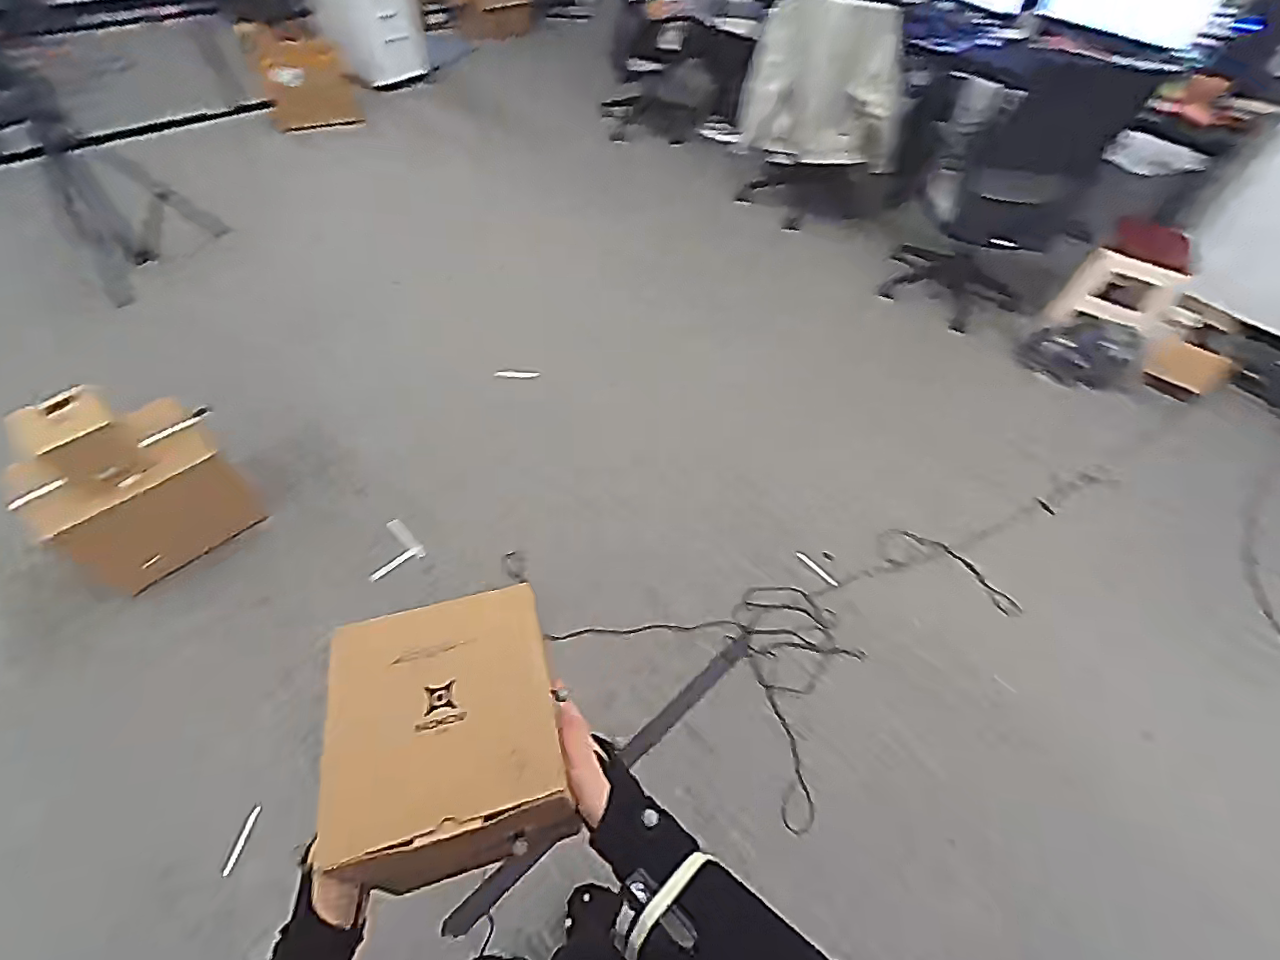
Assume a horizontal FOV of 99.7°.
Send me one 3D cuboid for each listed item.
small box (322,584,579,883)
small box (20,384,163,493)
[{"bbox_3d":[-0.152,0.224,0.473,0.168,0.176,0.179,-12,49,-13],"label":"small box"},{"bbox_3d":[-1.358,-0.099,1.348,0.179,0.176,0.168,40,61,21],"label":"small box"}]
